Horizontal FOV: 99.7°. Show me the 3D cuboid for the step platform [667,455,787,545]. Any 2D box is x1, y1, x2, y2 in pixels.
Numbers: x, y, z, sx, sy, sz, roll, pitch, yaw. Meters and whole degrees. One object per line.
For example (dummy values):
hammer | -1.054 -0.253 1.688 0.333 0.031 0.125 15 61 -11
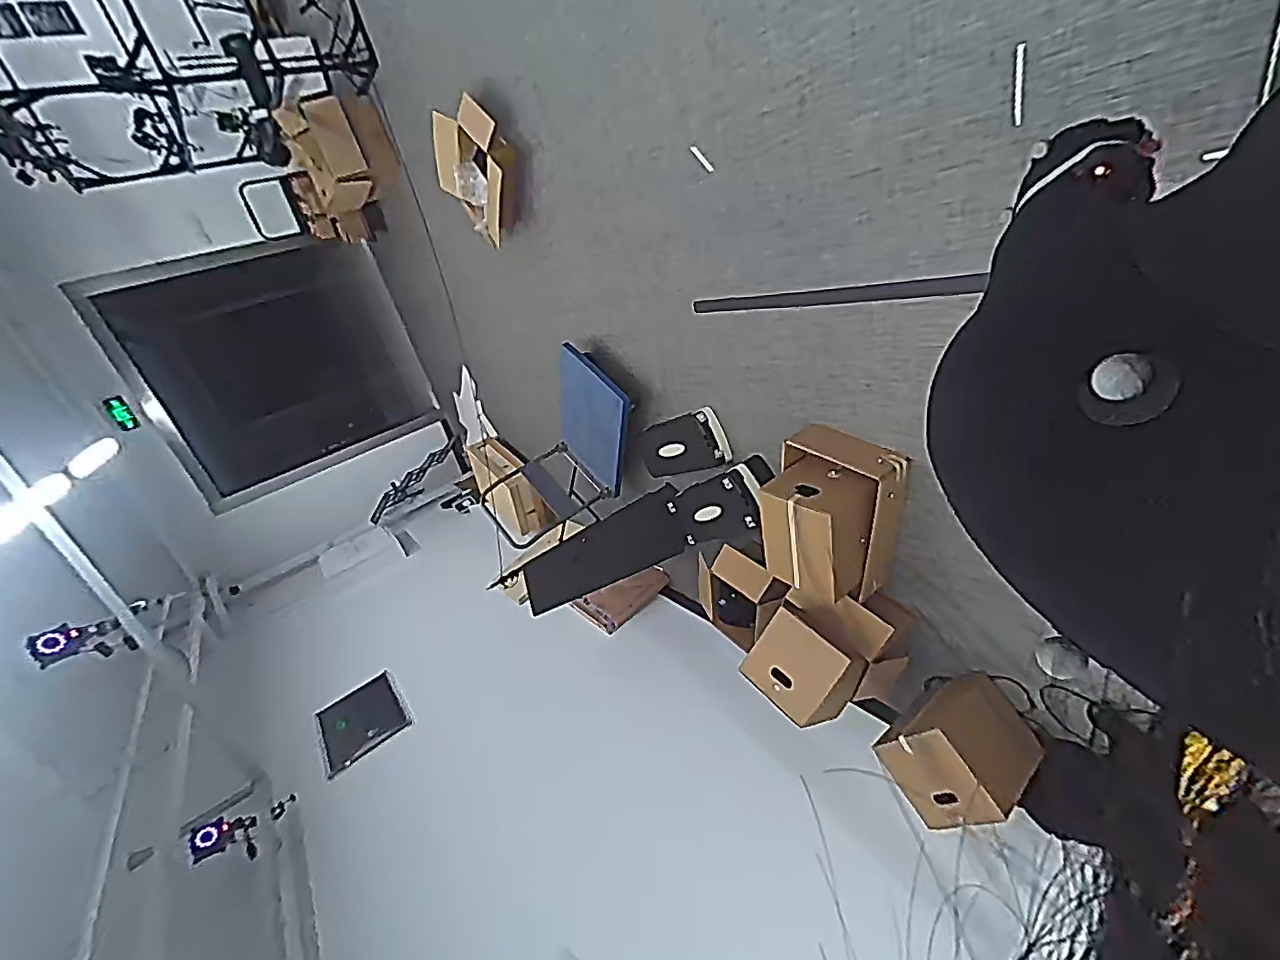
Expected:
step platform | 0.396 0.119 2.651 0.286 0.204 0.684 59 151 1
